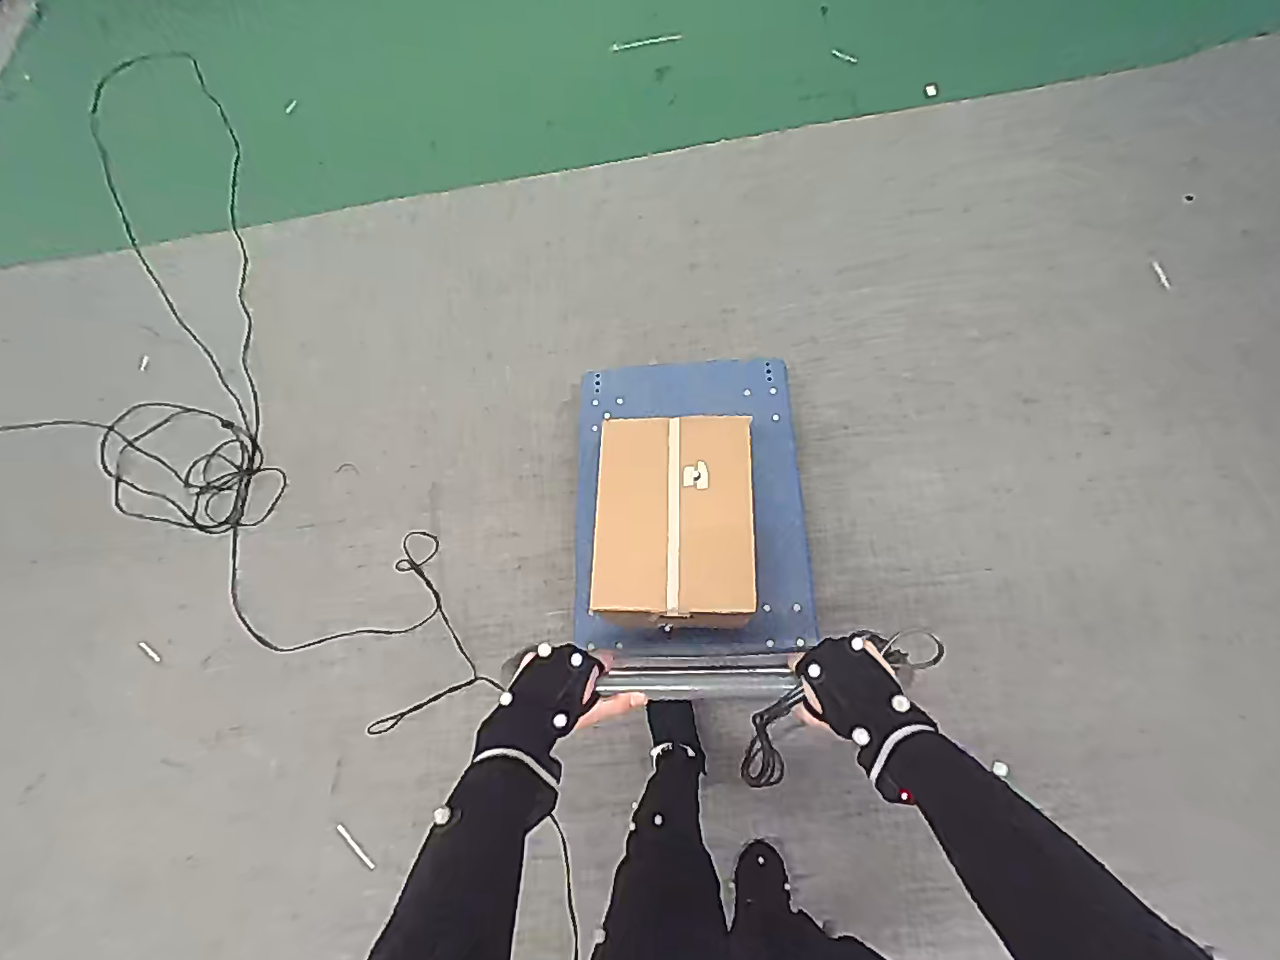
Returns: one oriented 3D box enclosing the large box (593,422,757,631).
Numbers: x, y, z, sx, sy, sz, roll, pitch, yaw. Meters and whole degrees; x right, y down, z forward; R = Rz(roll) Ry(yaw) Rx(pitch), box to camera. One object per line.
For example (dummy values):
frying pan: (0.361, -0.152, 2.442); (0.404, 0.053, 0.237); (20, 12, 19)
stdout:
large box: (0.083, 0.120, 1.218); (0.320, 0.320, 0.408); (0, 69, 6)
